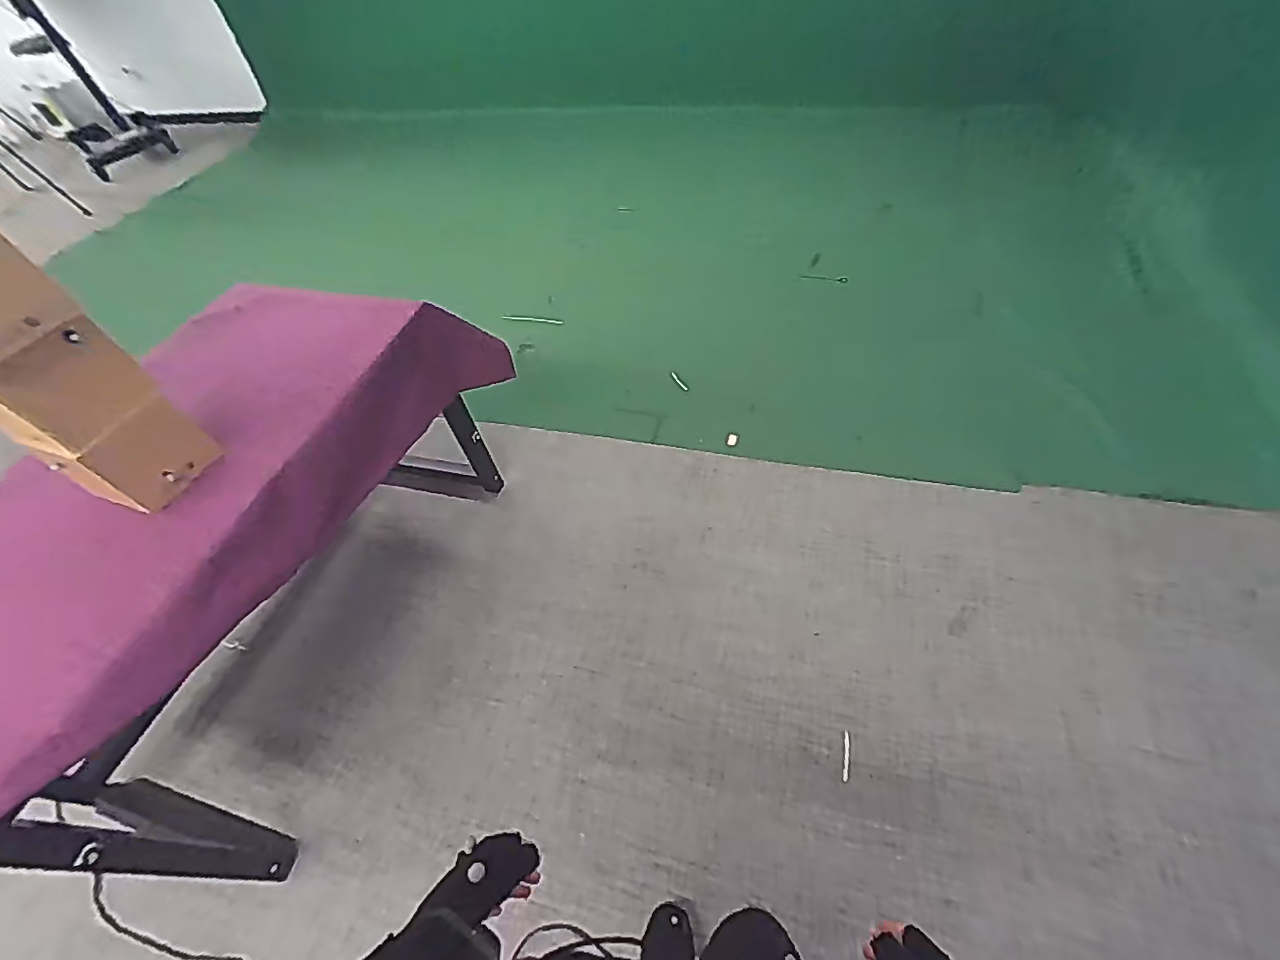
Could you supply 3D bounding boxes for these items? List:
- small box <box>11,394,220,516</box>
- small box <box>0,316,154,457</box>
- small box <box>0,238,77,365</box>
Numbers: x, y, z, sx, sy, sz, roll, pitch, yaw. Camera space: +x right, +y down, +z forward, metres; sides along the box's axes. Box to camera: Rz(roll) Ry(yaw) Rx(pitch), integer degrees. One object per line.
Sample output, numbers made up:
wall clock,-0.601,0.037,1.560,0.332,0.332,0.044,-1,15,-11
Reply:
small box,-0.939,-0.055,0.986,0.179,0.176,0.168,13,56,17
small box,-0.956,-0.159,0.864,0.168,0.176,0.179,12,55,16
small box,-0.951,-0.255,0.729,0.179,0.176,0.168,14,56,19
